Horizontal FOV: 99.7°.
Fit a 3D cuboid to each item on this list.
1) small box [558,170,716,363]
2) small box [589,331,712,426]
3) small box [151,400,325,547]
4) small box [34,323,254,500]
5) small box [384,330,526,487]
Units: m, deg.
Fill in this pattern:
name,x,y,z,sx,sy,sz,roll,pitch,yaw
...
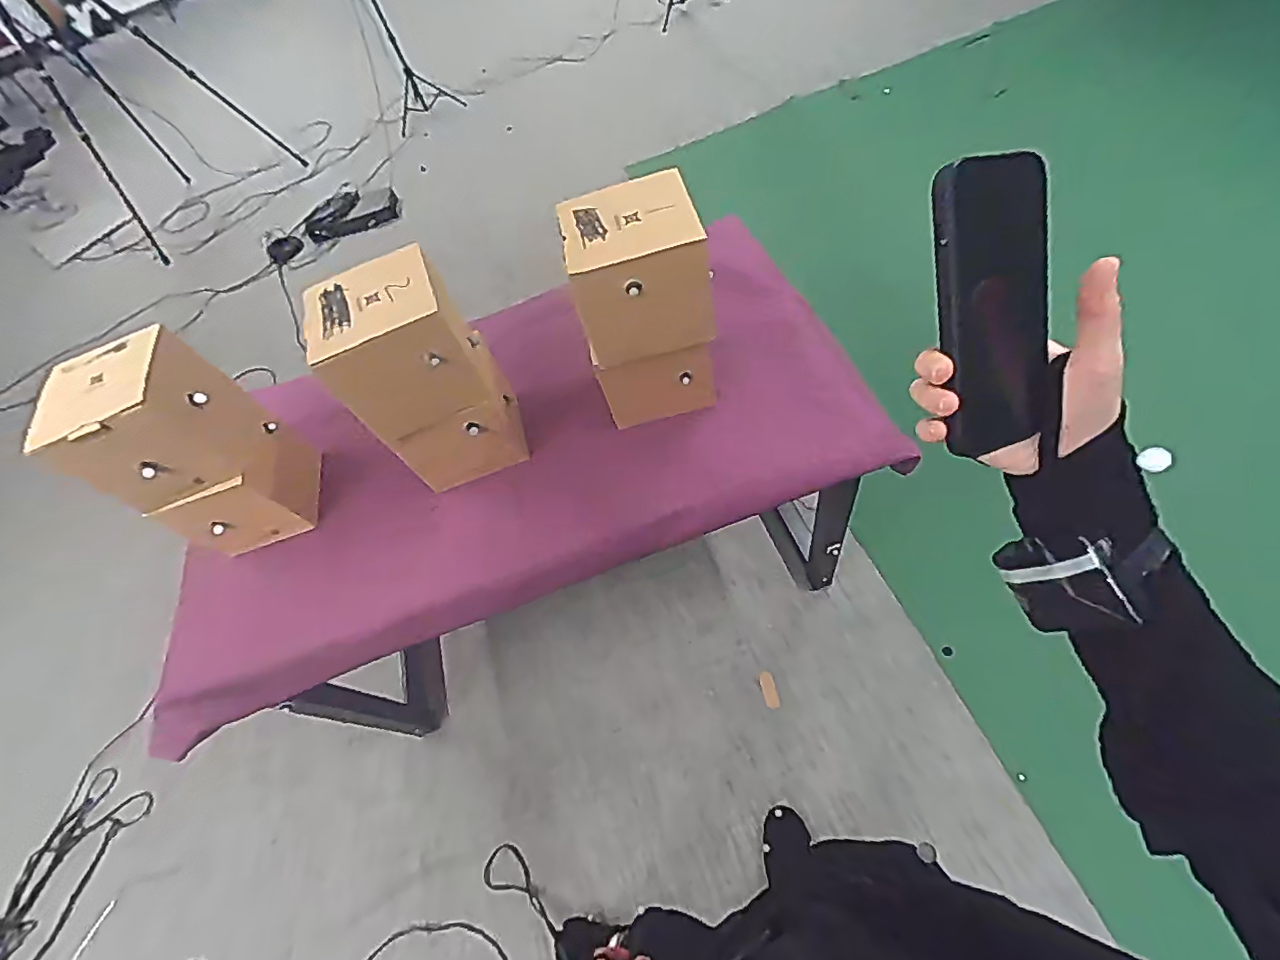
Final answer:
name,x,y,z,sx,sy,sz,roll,pitch,yaw
small box,-0.001,-0.290,0.758,0.179,0.176,0.168,-14,57,4
small box,0.020,-0.216,0.904,0.179,0.176,0.168,-14,57,5
small box,-0.679,-0.001,0.937,0.168,0.176,0.179,-19,57,2
small box,-0.714,-0.091,0.804,0.168,0.176,0.179,-23,58,-2
small box,-0.306,-0.115,0.917,0.179,0.176,0.168,-20,57,1
